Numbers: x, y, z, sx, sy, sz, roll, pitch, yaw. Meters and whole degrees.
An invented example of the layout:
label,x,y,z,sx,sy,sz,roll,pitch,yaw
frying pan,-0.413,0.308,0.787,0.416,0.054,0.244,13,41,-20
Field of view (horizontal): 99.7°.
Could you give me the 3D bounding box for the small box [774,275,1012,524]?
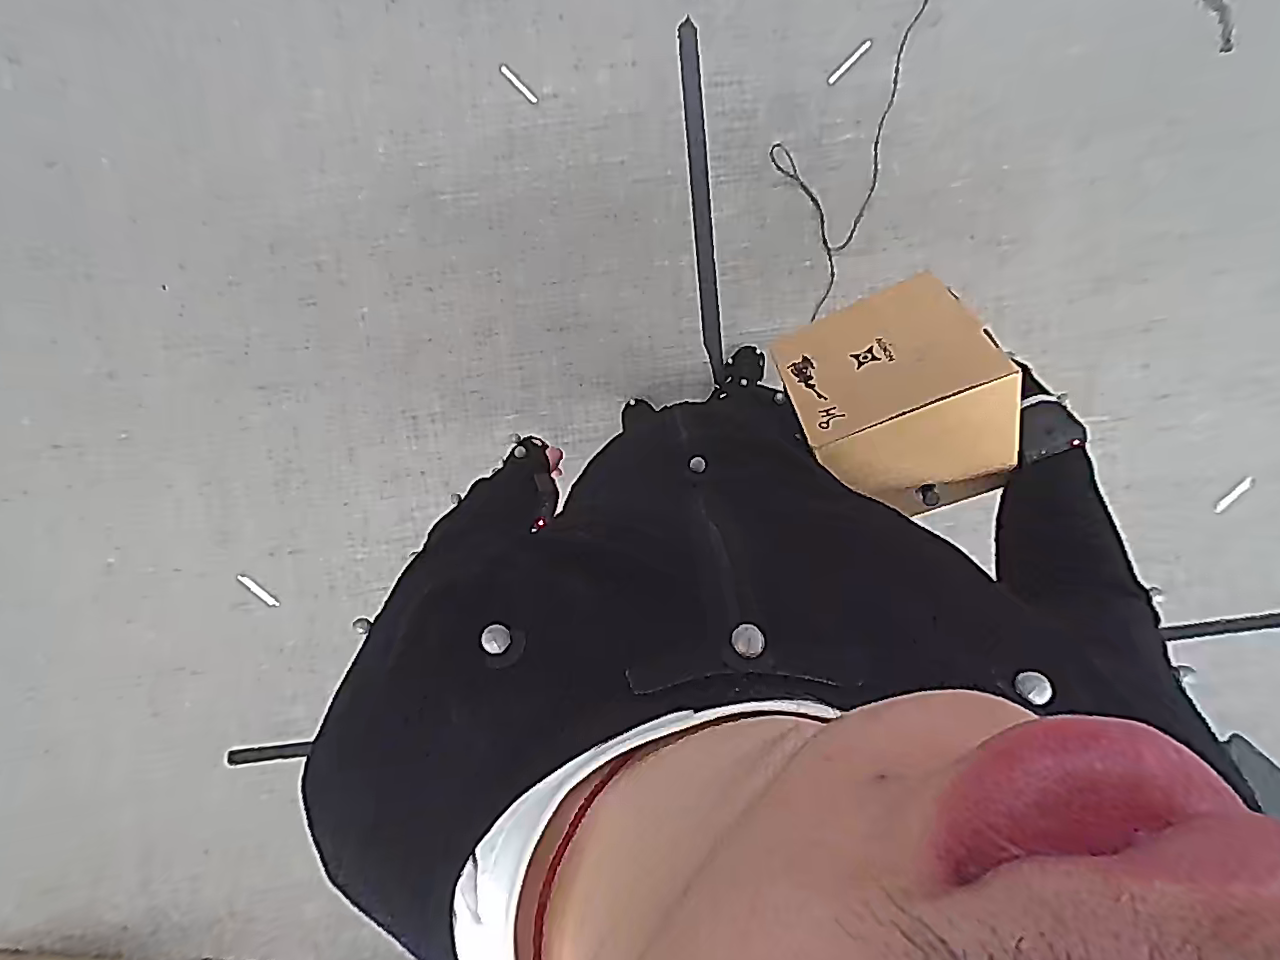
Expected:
label,x,y,z,sx,sy,sz,roll,pitch,yaw
small box,0.269,-0.079,0.590,0.179,0.168,0.176,-22,136,17
